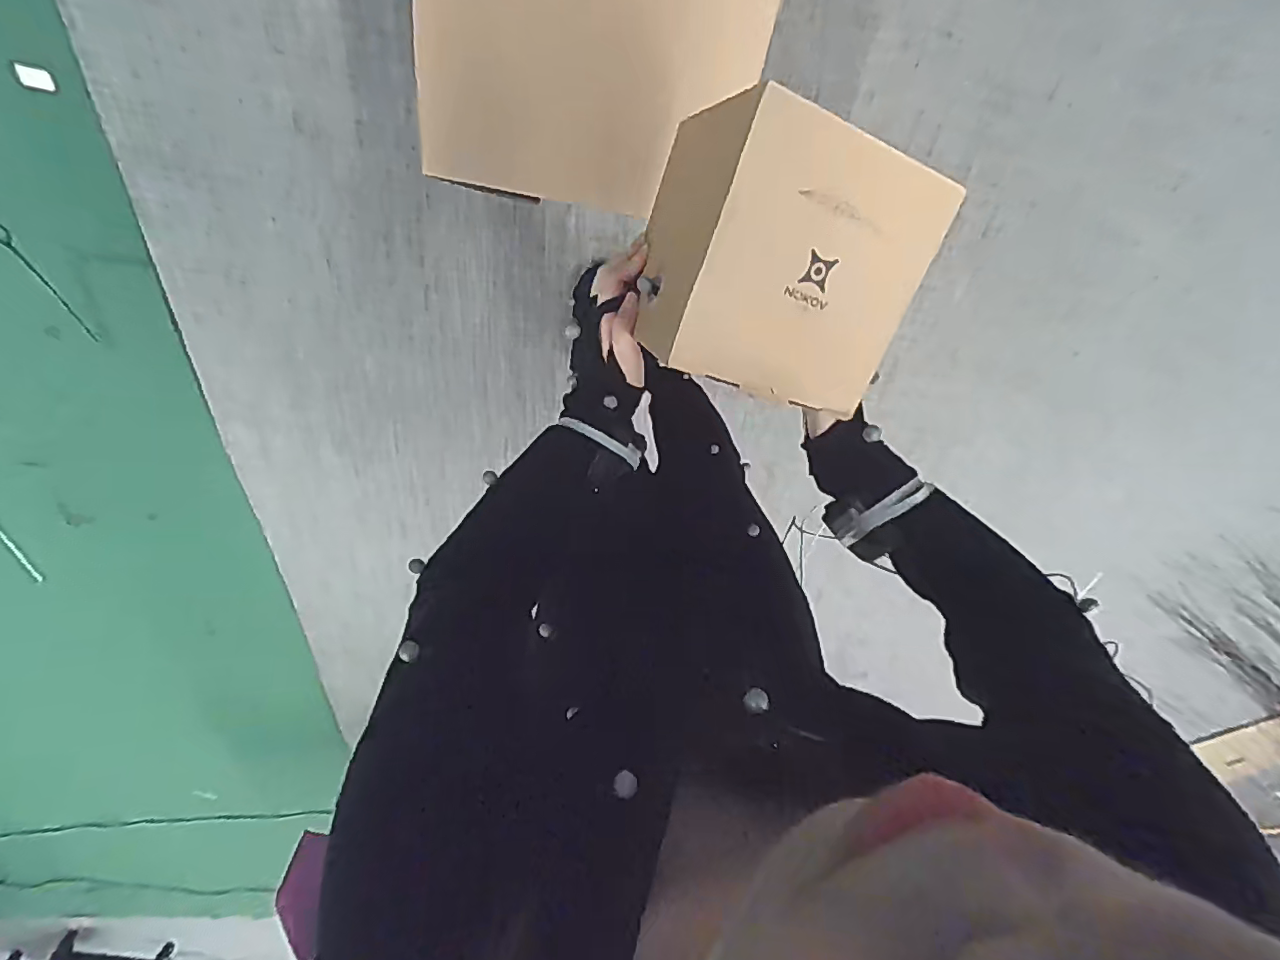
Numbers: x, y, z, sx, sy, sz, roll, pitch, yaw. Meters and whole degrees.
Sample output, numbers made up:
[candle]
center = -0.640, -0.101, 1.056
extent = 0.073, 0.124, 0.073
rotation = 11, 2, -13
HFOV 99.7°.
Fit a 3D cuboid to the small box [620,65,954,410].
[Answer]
[small box]
center = 0.093, -0.182, 0.437
extent = 0.168, 0.176, 0.179
rotation = 12, 112, -21
